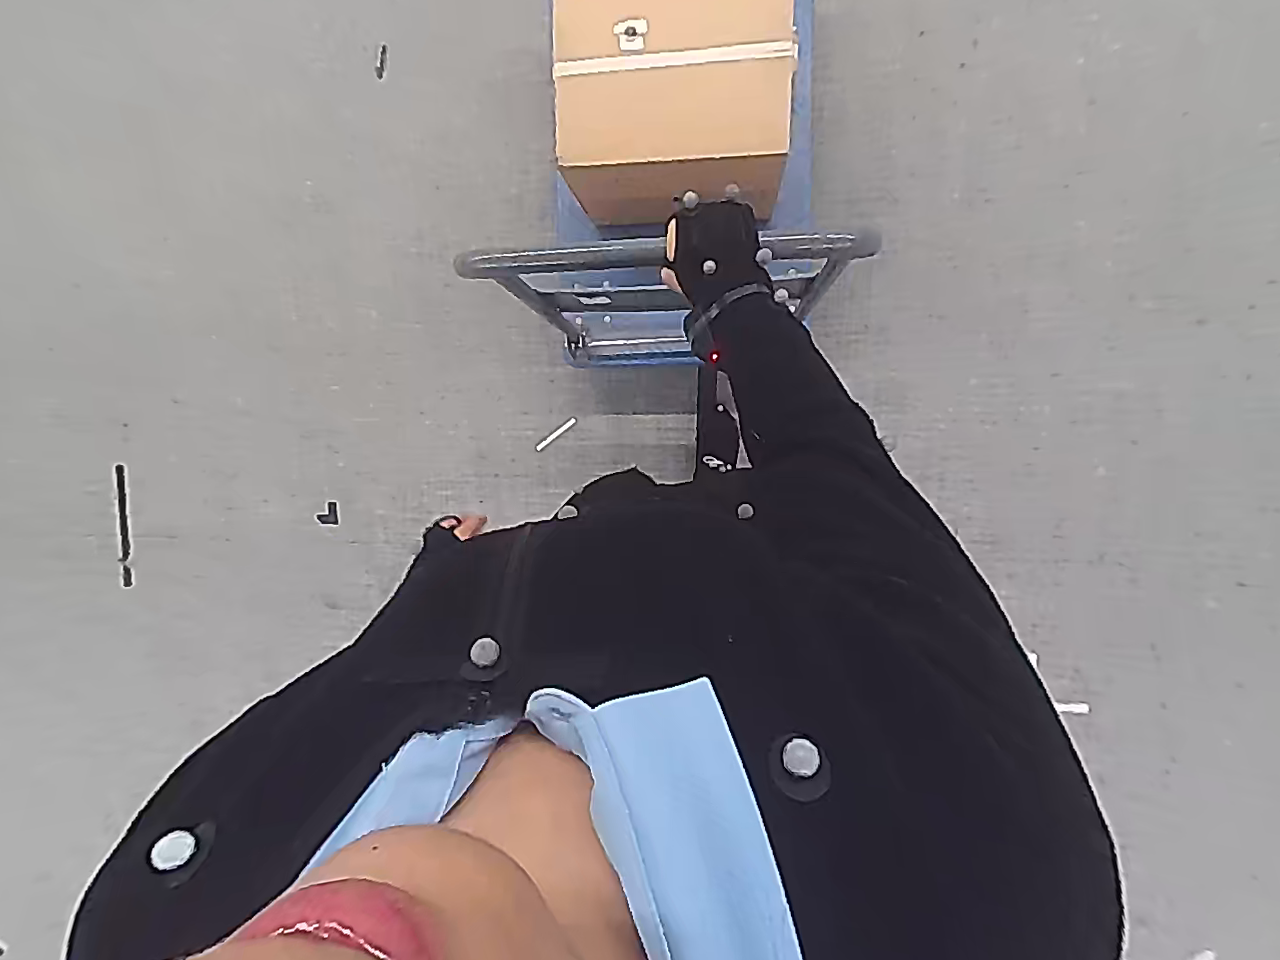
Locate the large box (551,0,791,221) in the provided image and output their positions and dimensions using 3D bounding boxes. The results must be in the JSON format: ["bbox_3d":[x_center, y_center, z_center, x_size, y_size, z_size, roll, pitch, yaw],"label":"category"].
[{"bbox_3d":[0.071,-0.722,1.047,0.408,0.320,0.320,1,96,9],"label":"large box"}]
